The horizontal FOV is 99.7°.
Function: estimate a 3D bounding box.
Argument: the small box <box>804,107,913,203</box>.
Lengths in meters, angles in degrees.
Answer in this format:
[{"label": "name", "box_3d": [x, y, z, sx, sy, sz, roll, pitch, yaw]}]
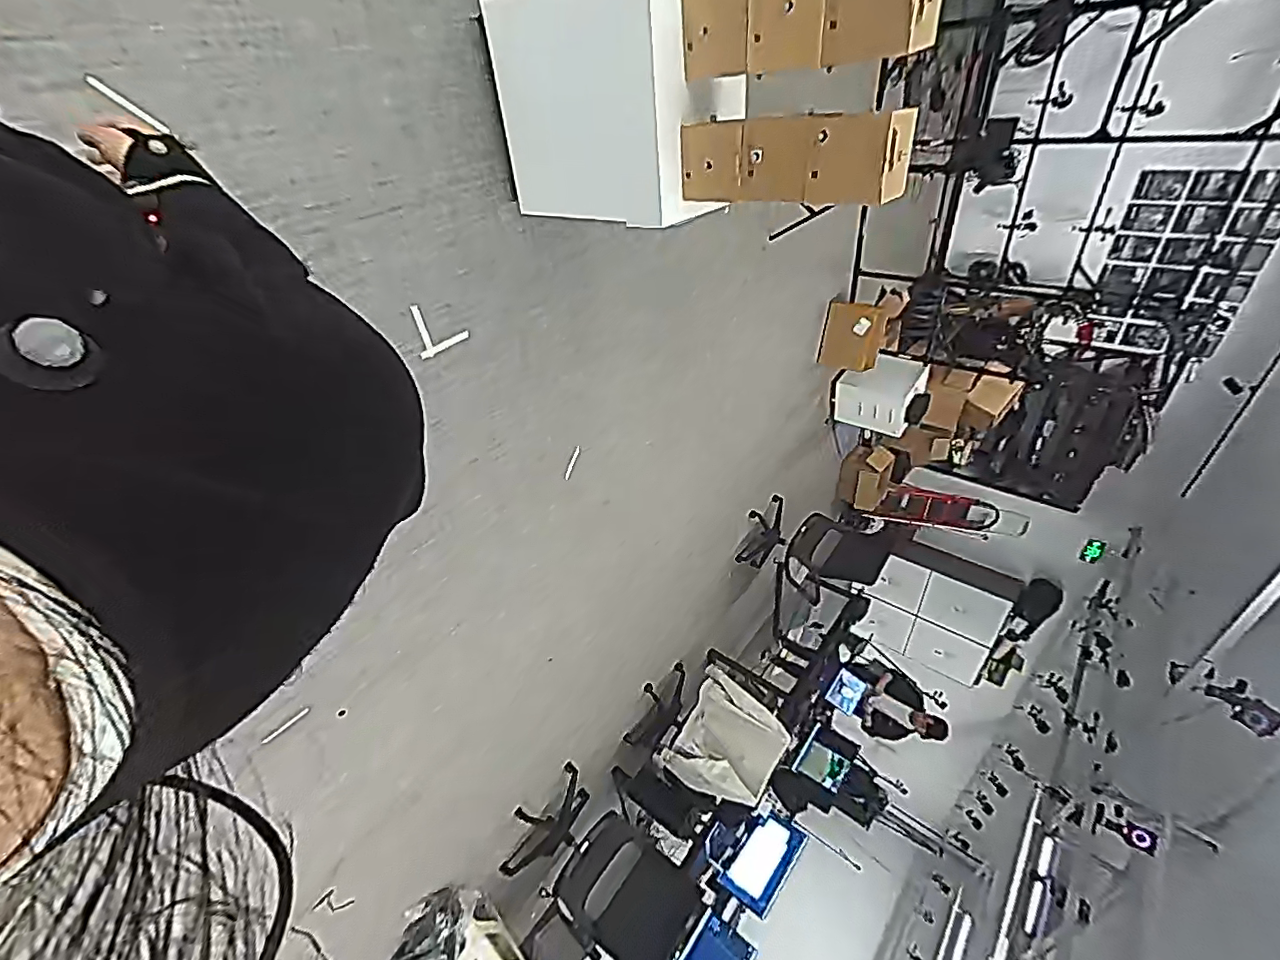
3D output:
[{"label": "small box", "box_3d": [0.472, -0.708, 1.184, 0.179, 0.176, 0.168, -38, 135, -39]}]

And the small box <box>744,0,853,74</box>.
[{"label": "small box", "box_3d": [0.330, -0.966, 1.133, 0.179, 0.176, 0.168, -41, 139, -36]}]

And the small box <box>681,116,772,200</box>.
[{"label": "small box", "box_3d": [0.214, -0.807, 1.359, 0.179, 0.176, 0.168, -37, 135, -36]}]

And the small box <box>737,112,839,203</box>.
[{"label": "small box", "box_3d": [0.346, -0.761, 1.275, 0.179, 0.176, 0.168, -38, 135, -37]}]
